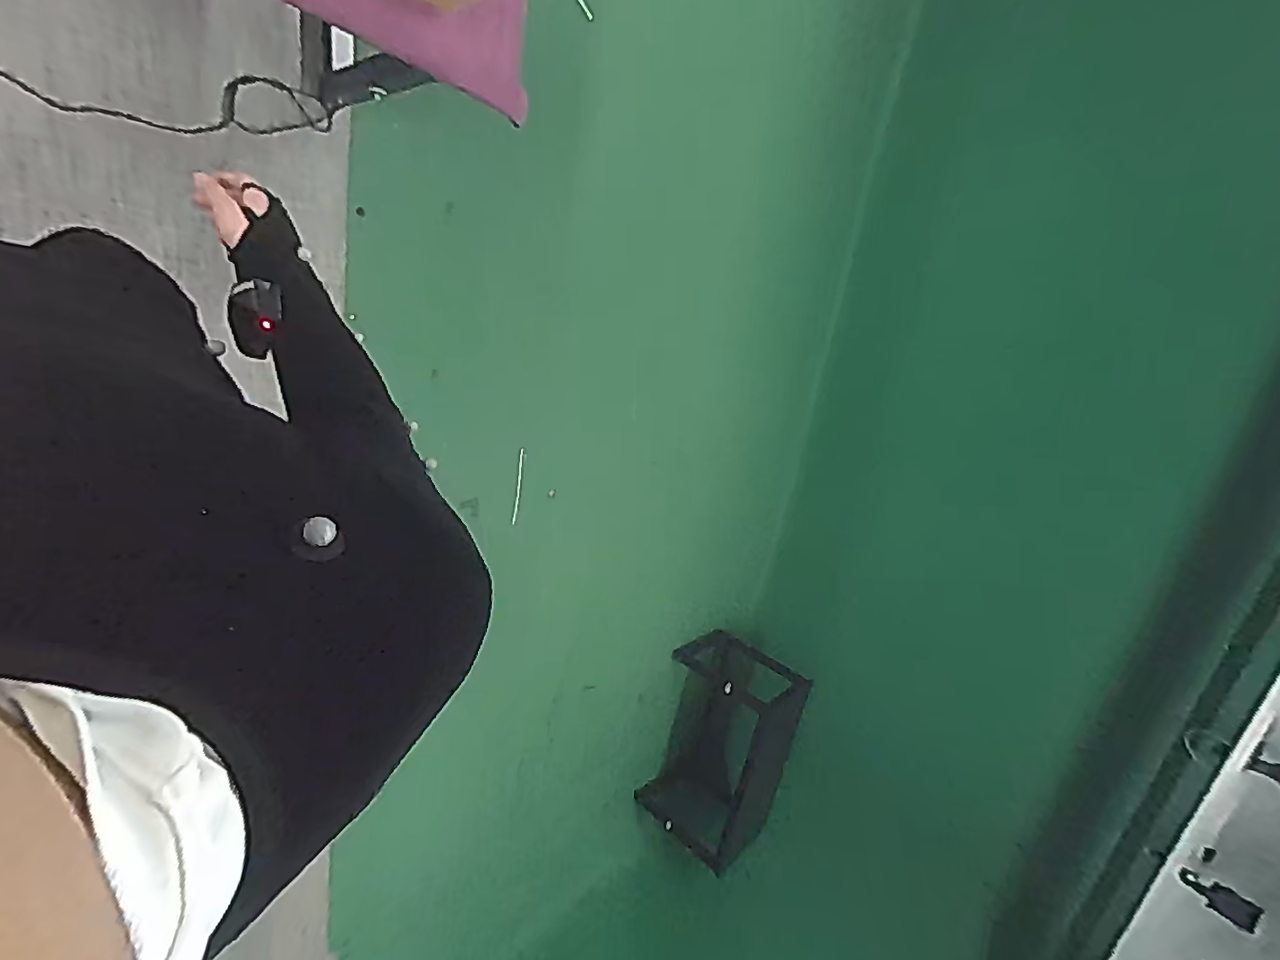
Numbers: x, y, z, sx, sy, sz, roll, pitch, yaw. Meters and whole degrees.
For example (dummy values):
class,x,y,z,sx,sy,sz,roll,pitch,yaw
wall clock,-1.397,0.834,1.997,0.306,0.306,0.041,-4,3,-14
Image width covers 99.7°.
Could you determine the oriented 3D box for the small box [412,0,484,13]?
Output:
class,x,y,z,sx,sy,sz,roll,pitch,yaw
small box,-0.272,-0.733,0.668,0.168,0.176,0.179,-9,116,-47
